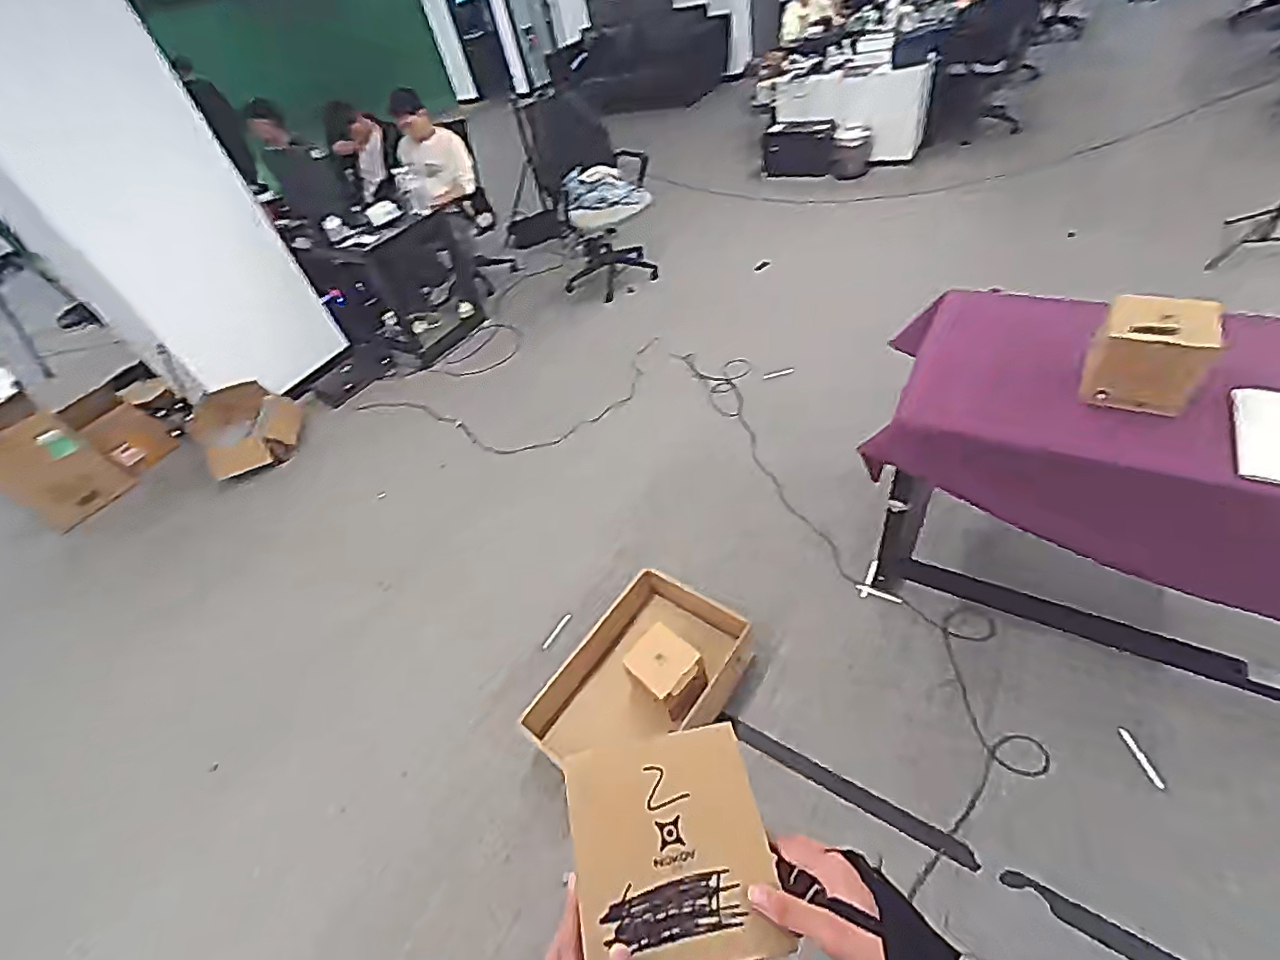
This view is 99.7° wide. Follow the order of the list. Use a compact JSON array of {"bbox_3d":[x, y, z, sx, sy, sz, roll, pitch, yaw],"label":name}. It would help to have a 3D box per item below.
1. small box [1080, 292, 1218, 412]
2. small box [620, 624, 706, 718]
[{"bbox_3d":[1.054,-0.267,1.129,0.168,0.176,0.179,18,53,29],"label":"small box"},{"bbox_3d":[0.074,0.560,1.568,0.168,0.176,0.179,-41,50,-23],"label":"small box"}]
